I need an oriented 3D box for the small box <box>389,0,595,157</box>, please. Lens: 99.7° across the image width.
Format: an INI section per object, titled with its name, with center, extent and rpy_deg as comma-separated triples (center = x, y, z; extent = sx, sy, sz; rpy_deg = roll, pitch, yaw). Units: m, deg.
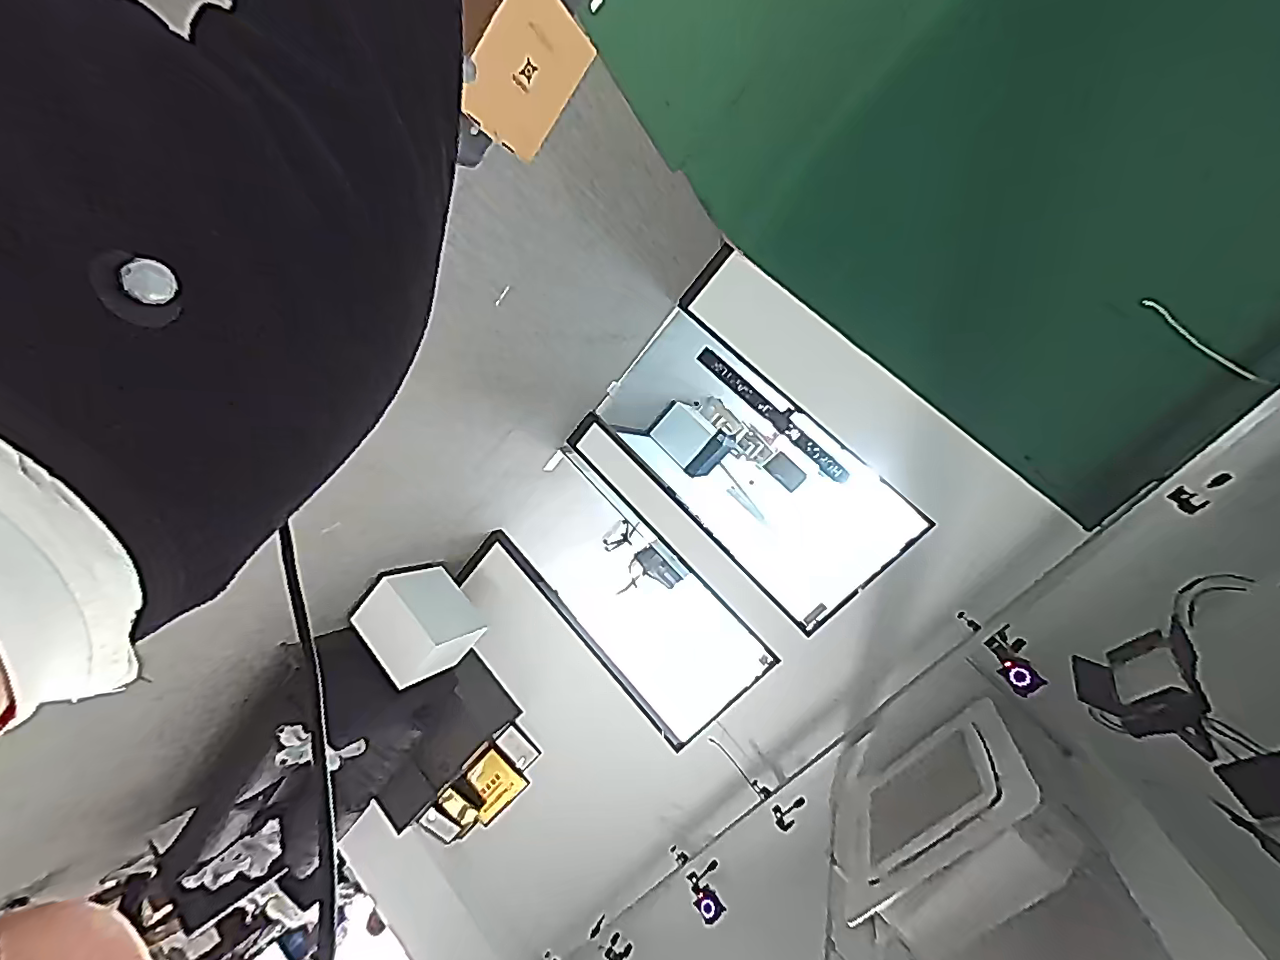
[small box]
center = -0.201, -0.592, 0.722
extent = 0.179, 0.176, 0.168
rpy_deg = -49, 164, 18
